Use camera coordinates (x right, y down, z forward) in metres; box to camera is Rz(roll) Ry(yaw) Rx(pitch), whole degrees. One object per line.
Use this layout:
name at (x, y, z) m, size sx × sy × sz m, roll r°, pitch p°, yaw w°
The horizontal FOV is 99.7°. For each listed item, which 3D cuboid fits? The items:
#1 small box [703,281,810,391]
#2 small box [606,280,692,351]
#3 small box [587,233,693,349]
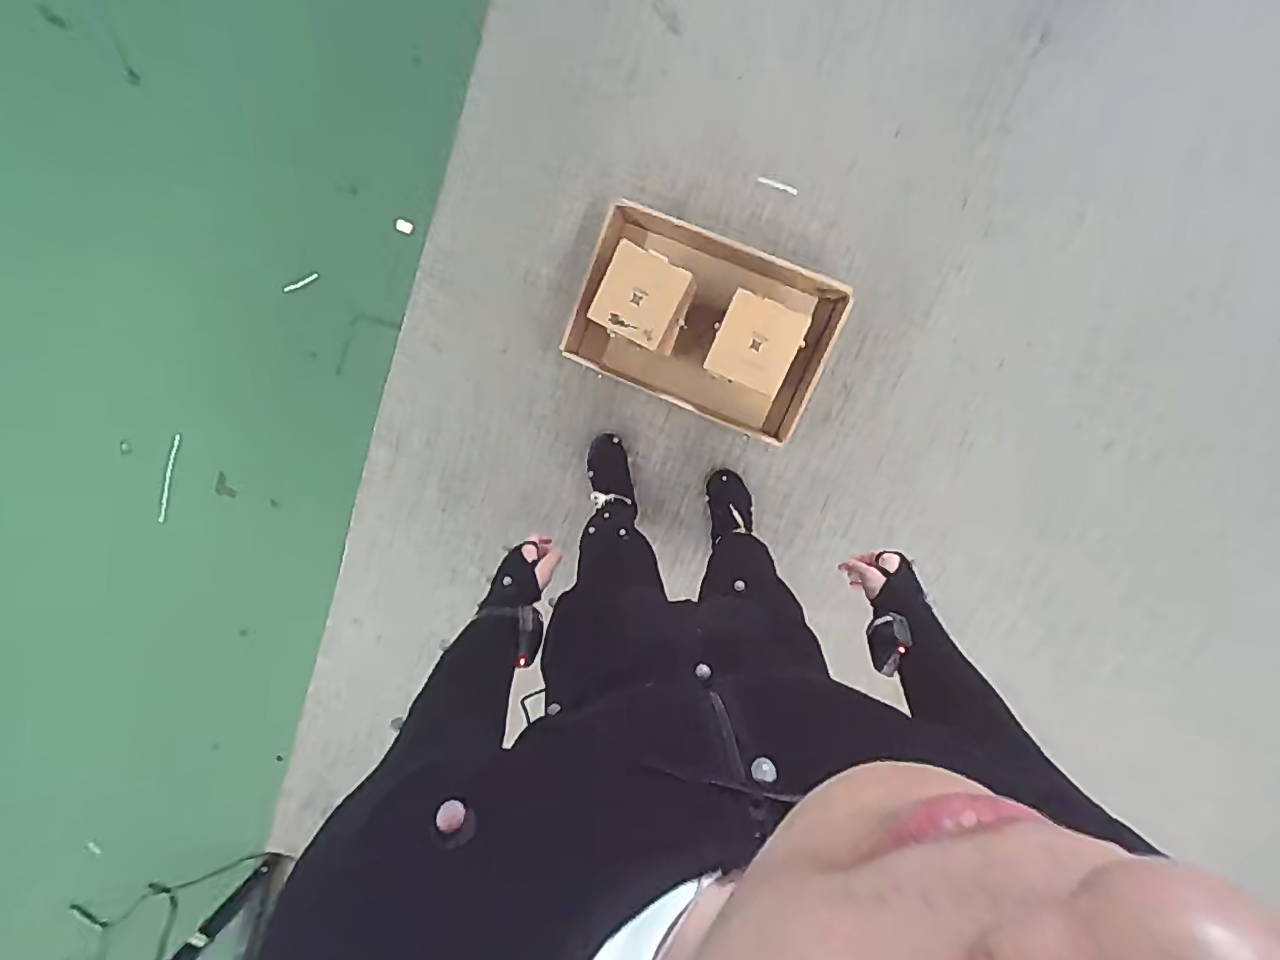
small box at (0.248, -0.309, 1.193) m, size 0.168 × 0.176 × 0.179 m, roll 25°, pitch 103°, yaw 4°
small box at (0.030, -0.435, 1.364) m, size 0.168 × 0.176 × 0.179 m, roll 21°, pitch 102°, yaw 2°
small box at (0.005, -0.409, 1.203) m, size 0.168 × 0.176 × 0.179 m, roll 28°, pitch 101°, yaw 2°
